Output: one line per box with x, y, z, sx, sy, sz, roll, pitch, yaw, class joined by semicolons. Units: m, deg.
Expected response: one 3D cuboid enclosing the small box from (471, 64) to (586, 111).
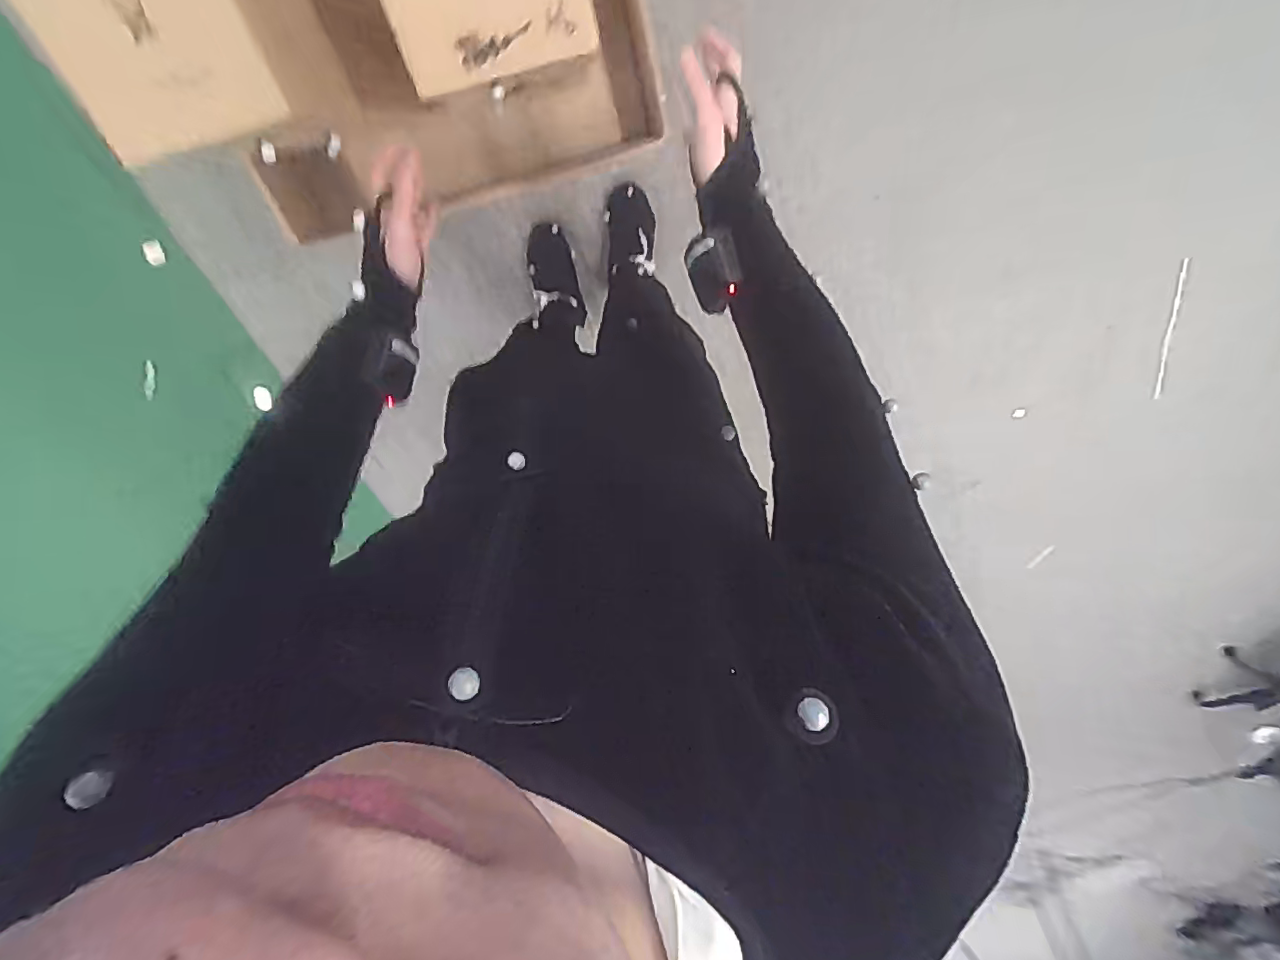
-0.178;-0.638;0.755;0.168;0.176;0.179;-14;125;4;small box

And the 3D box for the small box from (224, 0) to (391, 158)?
-0.425;-0.496;0.627;0.168;0.176;0.179;-15;124;5;small box

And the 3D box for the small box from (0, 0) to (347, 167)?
-0.411;-0.406;0.492;0.168;0.176;0.179;-13;124;5;small box

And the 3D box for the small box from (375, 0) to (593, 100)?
-0.144;-0.462;0.480;0.168;0.176;0.179;-13;124;4;small box

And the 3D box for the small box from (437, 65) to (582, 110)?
-0.165;-0.547;0.619;0.168;0.176;0.179;-13;124;3;small box
